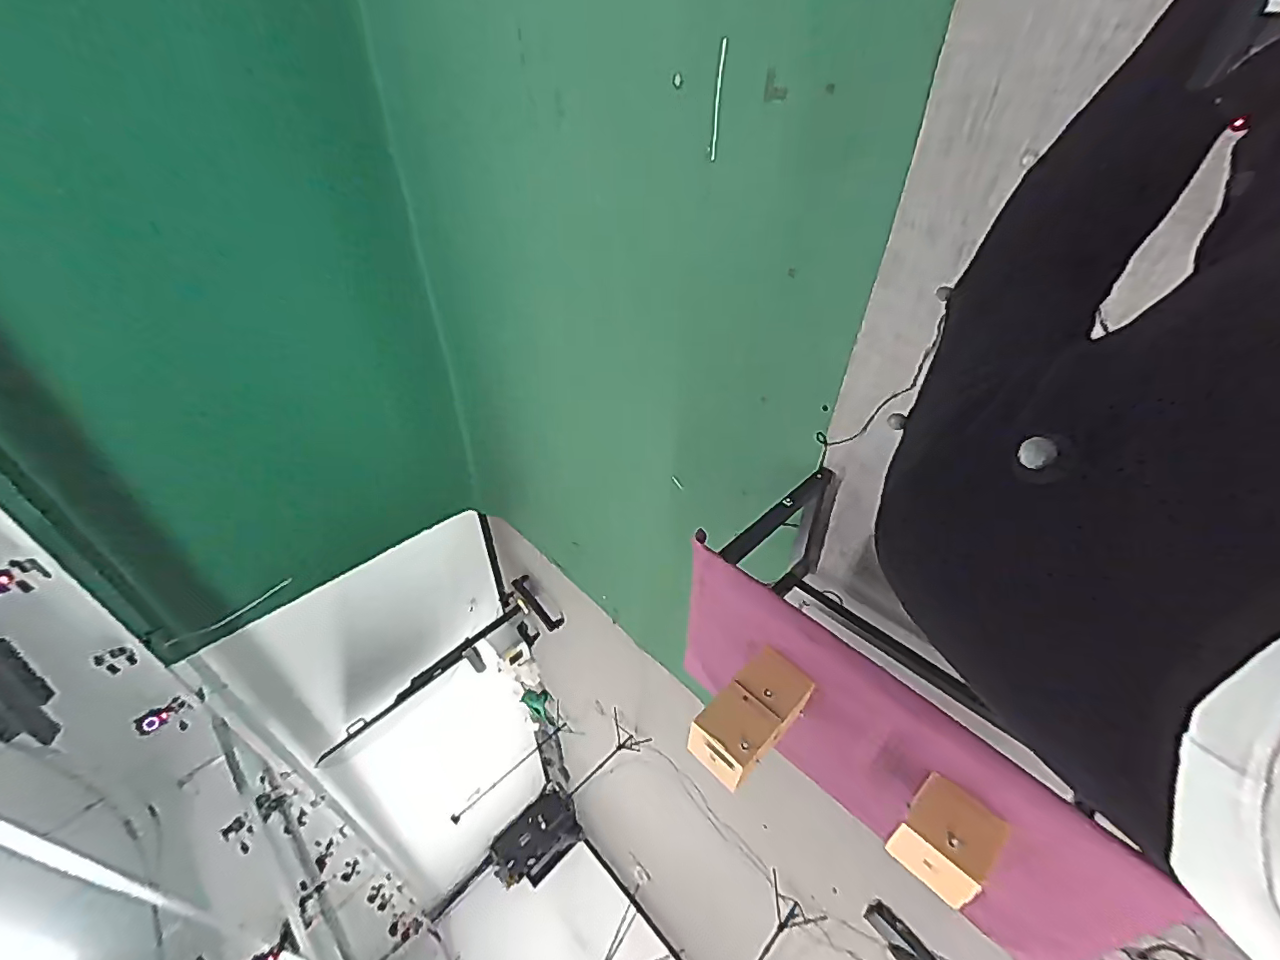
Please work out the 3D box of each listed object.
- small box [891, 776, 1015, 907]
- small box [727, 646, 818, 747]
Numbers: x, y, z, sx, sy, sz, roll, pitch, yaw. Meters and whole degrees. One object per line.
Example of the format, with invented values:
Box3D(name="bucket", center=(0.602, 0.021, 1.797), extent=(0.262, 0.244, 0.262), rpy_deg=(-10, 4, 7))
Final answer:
Box3D(name="small box", center=(0.729, 0.831, 1.264), extent=(0.179, 0.176, 0.168), rpy_deg=(31, 138, 34))
Box3D(name="small box", center=(0.378, 0.611, 1.541), extent=(0.179, 0.176, 0.168), rpy_deg=(35, 141, 31))
